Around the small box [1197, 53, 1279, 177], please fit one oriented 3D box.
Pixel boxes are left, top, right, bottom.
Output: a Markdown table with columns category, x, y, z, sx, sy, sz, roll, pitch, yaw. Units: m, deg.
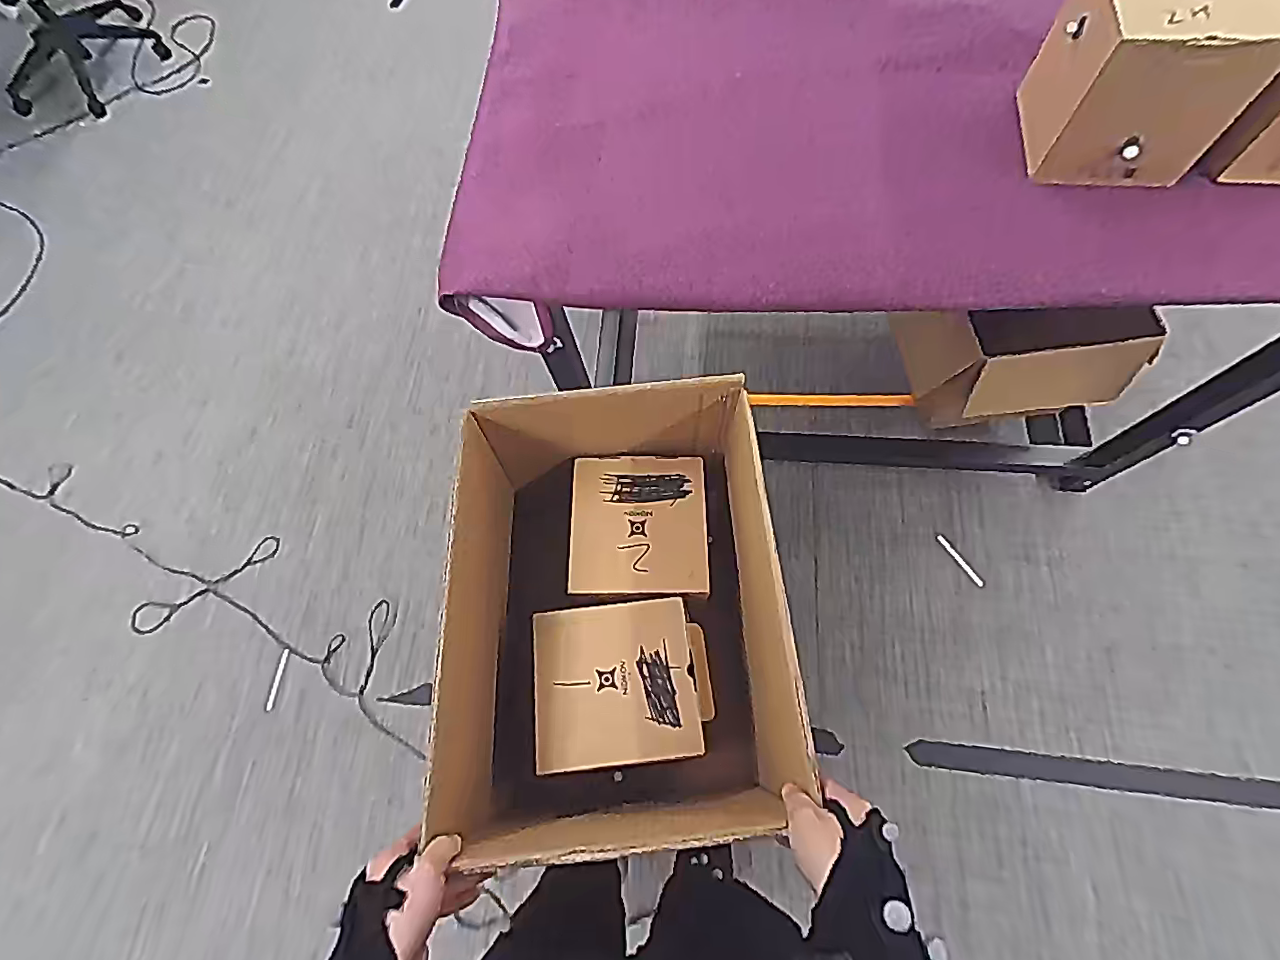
| category | x | y | z | sx | sy | sz | roll | pitch | yaw |
| --- | --- | --- | --- | --- | --- | --- | --- | --- | --- |
| small box | 0.786 | -0.478 | 0.615 | 0.168 | 0.176 | 0.179 | 6 | 69 | 9 |

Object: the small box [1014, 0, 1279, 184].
| category | x | y | z | sx | sy | sz | roll | pitch | yaw |
| --- | --- | --- | --- | --- | --- | --- | --- | --- | --- |
| small box | 0.577 | -0.487 | 0.641 | 0.168 | 0.176 | 0.179 | 5 | 69 | 9 |
